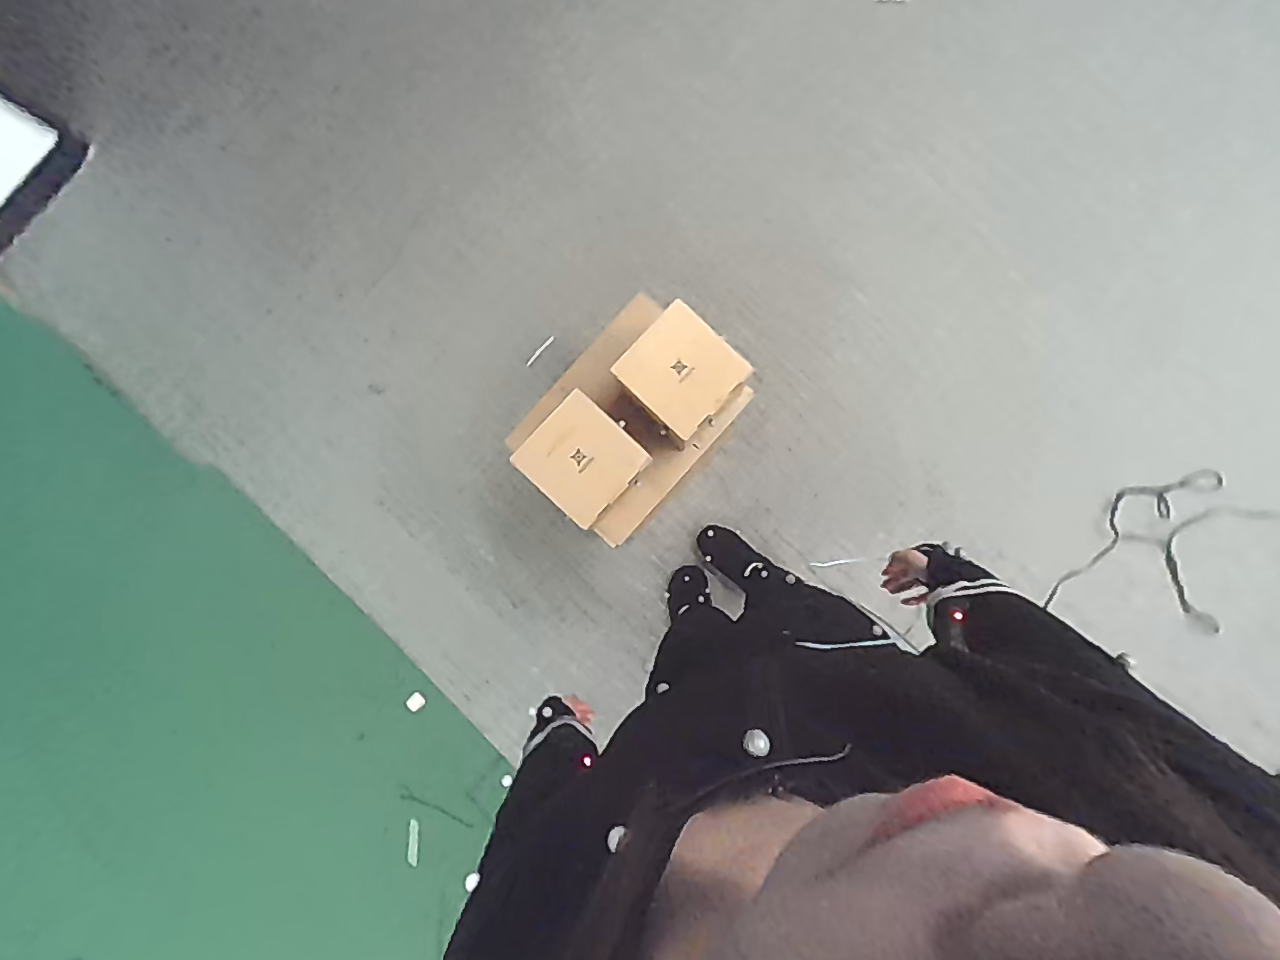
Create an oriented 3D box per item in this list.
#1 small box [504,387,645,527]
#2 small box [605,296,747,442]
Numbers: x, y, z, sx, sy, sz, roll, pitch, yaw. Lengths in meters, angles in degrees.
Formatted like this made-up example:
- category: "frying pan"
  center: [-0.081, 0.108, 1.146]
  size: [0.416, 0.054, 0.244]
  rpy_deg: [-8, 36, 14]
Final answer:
- category: "small box"
  center: [-0.107, -0.037, 0.962]
  size: [0.179, 0.176, 0.168]
  rpy_deg: [44, 88, 2]
- category: "small box"
  center: [0.061, -0.183, 0.961]
  size: [0.179, 0.176, 0.168]
  rpy_deg: [44, 91, 3]
